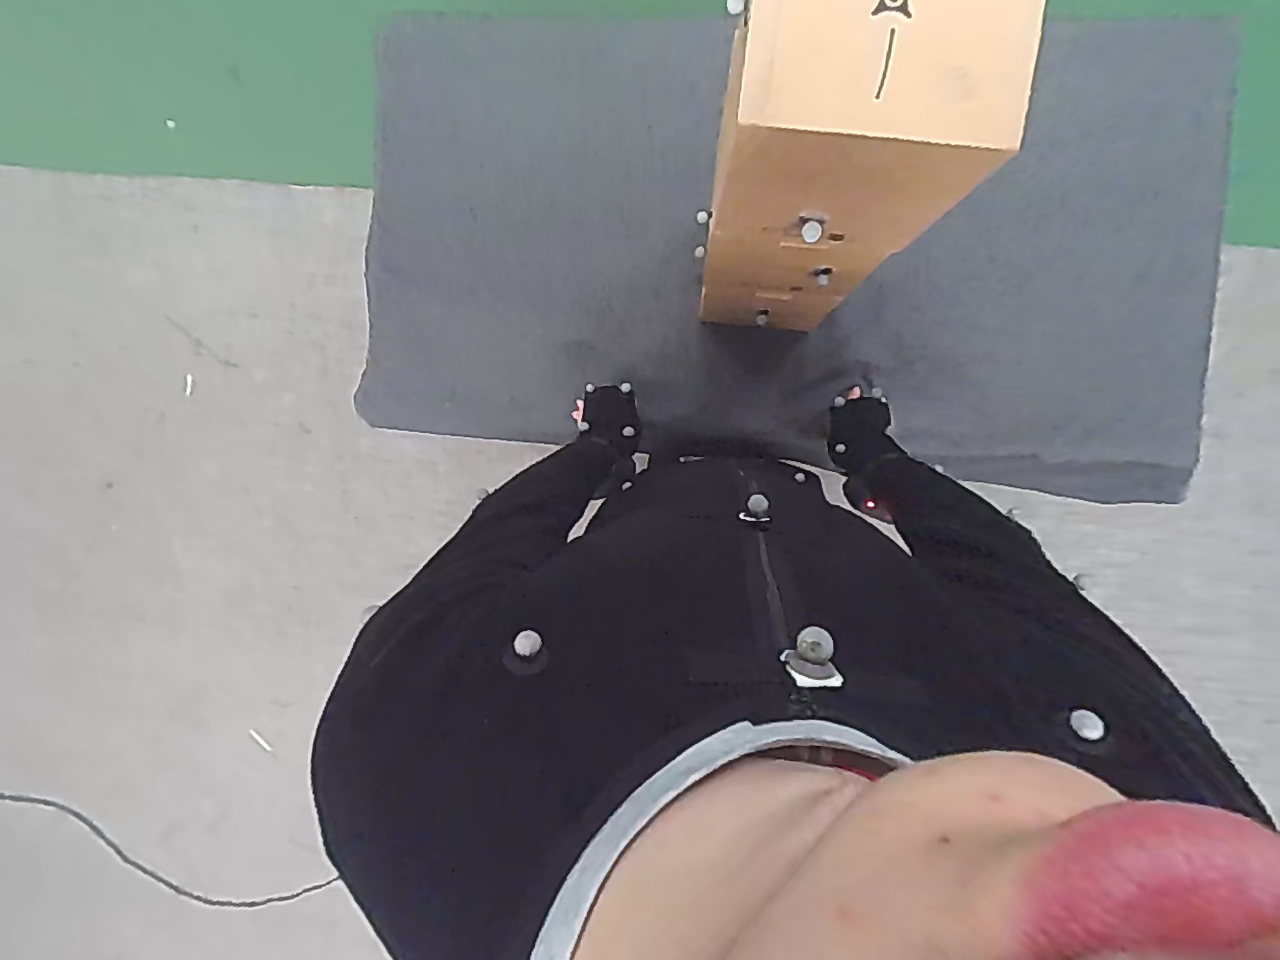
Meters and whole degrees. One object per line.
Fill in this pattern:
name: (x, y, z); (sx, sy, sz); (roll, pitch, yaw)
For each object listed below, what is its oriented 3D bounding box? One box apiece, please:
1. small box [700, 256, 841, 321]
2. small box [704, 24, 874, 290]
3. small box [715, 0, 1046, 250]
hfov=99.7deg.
small box: (0.171, -0.316, 0.709); (0.168, 0.176, 0.179); (7, 95, 3)
small box: (0.157, -0.305, 0.547); (0.168, 0.176, 0.179); (6, 93, 2)
small box: (0.150, -0.289, 0.384); (0.168, 0.176, 0.179); (8, 95, 3)
